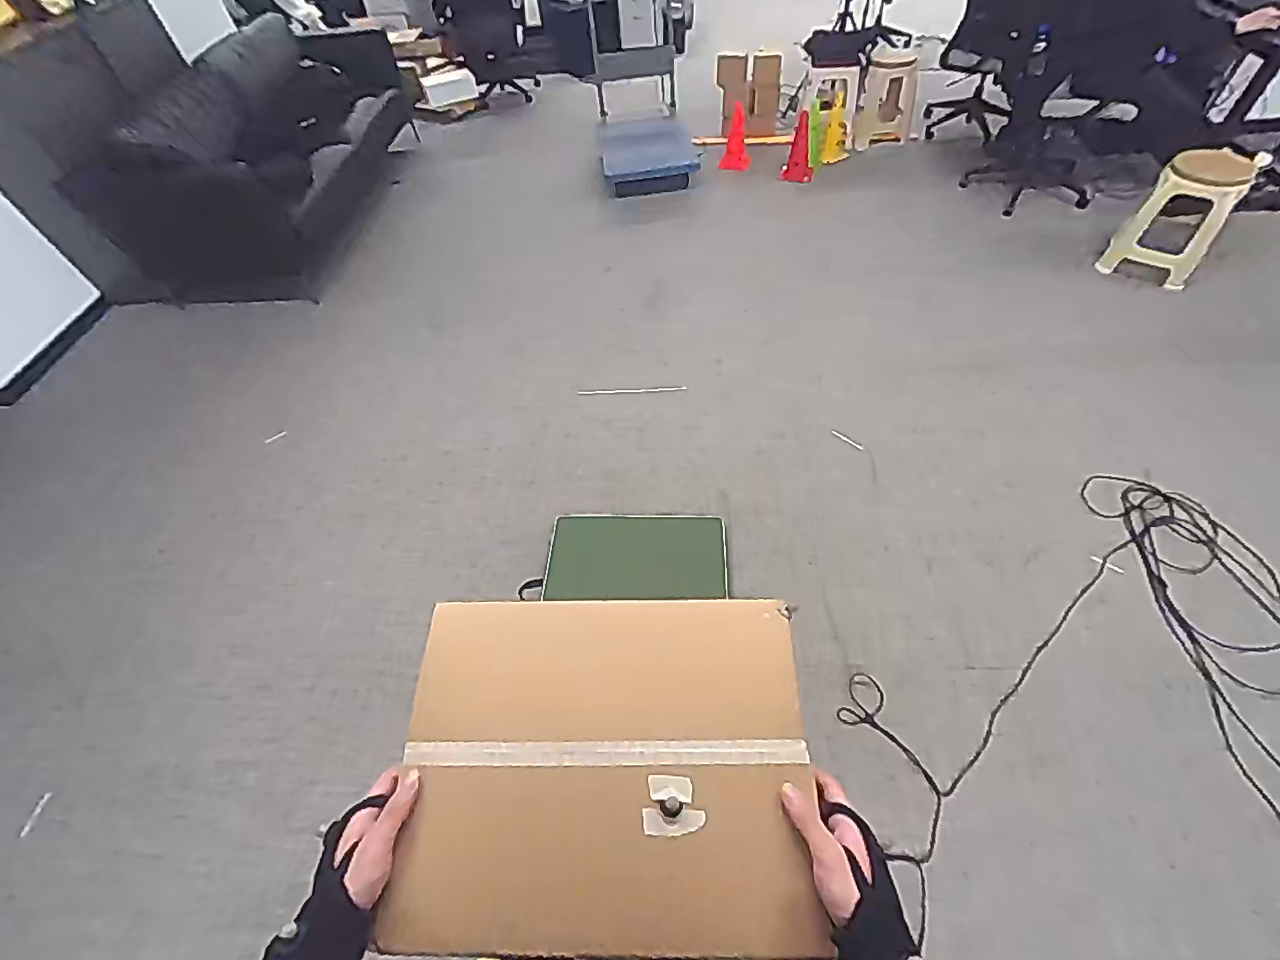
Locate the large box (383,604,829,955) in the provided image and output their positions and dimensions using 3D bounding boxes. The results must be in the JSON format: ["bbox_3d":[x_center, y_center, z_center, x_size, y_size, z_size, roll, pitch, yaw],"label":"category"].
[{"bbox_3d":[-0.031,0.358,0.677,0.408,0.320,0.320,-1,59,1],"label":"large box"}]
